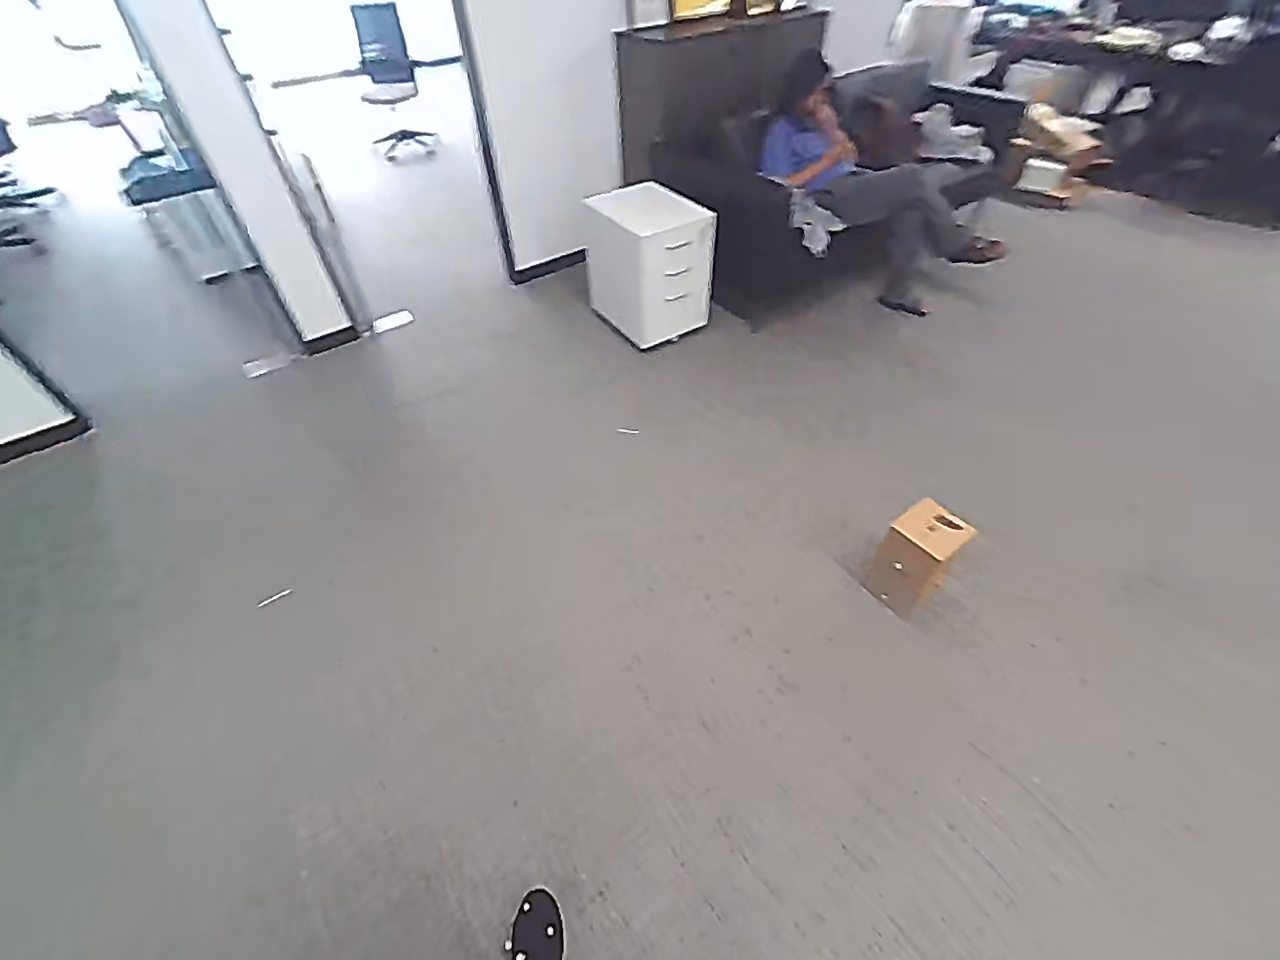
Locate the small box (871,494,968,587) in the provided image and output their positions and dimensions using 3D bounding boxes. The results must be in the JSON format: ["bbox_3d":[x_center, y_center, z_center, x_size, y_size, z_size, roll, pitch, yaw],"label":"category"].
[{"bbox_3d":[0.818,0.180,1.603,0.179,0.176,0.168,-29,52,-23],"label":"small box"}]

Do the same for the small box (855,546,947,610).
[{"bbox_3d":[0.826,0.289,1.727,0.168,0.176,0.179,-28,53,-23],"label":"small box"}]
